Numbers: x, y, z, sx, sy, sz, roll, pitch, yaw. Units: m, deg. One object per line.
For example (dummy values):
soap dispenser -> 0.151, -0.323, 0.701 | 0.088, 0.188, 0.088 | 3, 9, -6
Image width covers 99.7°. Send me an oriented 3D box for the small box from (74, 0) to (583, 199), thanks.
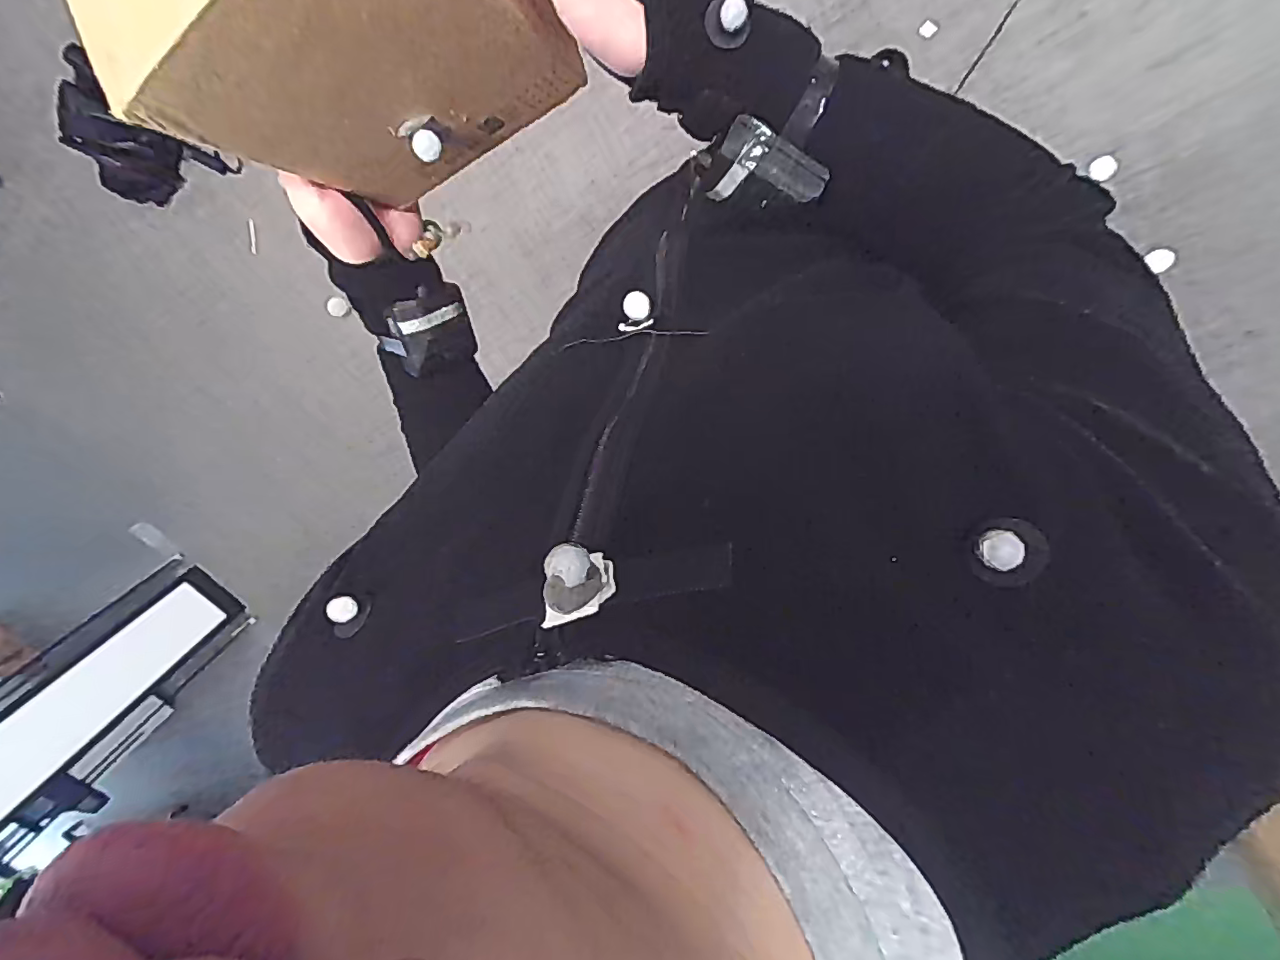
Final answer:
small box -> -0.154, -0.280, 0.274 | 0.168, 0.176, 0.179 | -14, 95, 26
